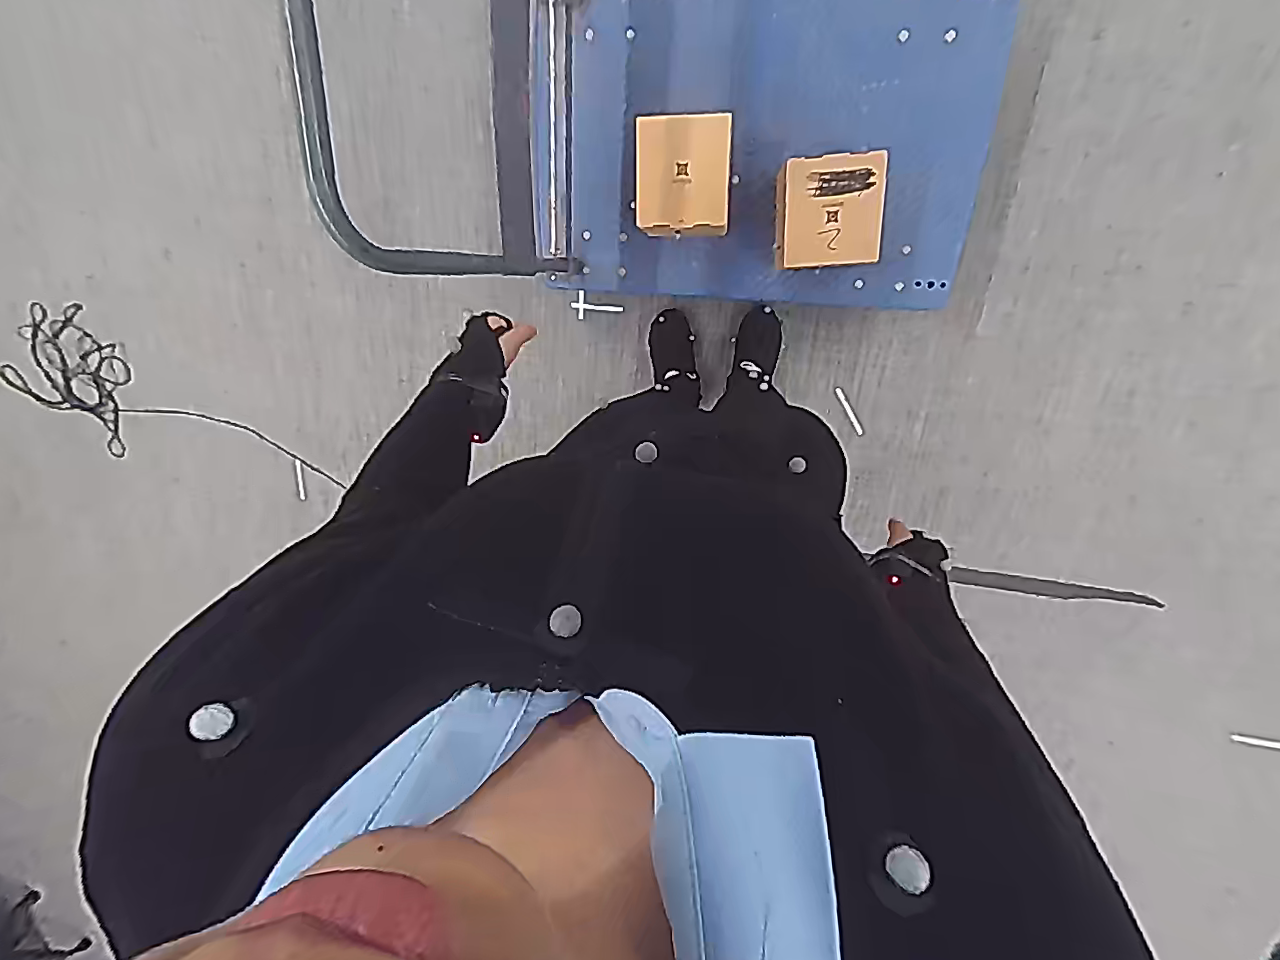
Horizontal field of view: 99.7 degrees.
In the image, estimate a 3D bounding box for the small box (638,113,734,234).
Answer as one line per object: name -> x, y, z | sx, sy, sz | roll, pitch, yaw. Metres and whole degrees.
small box -> 0.086, -0.567, 1.021 | 0.168, 0.176, 0.179 | 2, 111, 7
